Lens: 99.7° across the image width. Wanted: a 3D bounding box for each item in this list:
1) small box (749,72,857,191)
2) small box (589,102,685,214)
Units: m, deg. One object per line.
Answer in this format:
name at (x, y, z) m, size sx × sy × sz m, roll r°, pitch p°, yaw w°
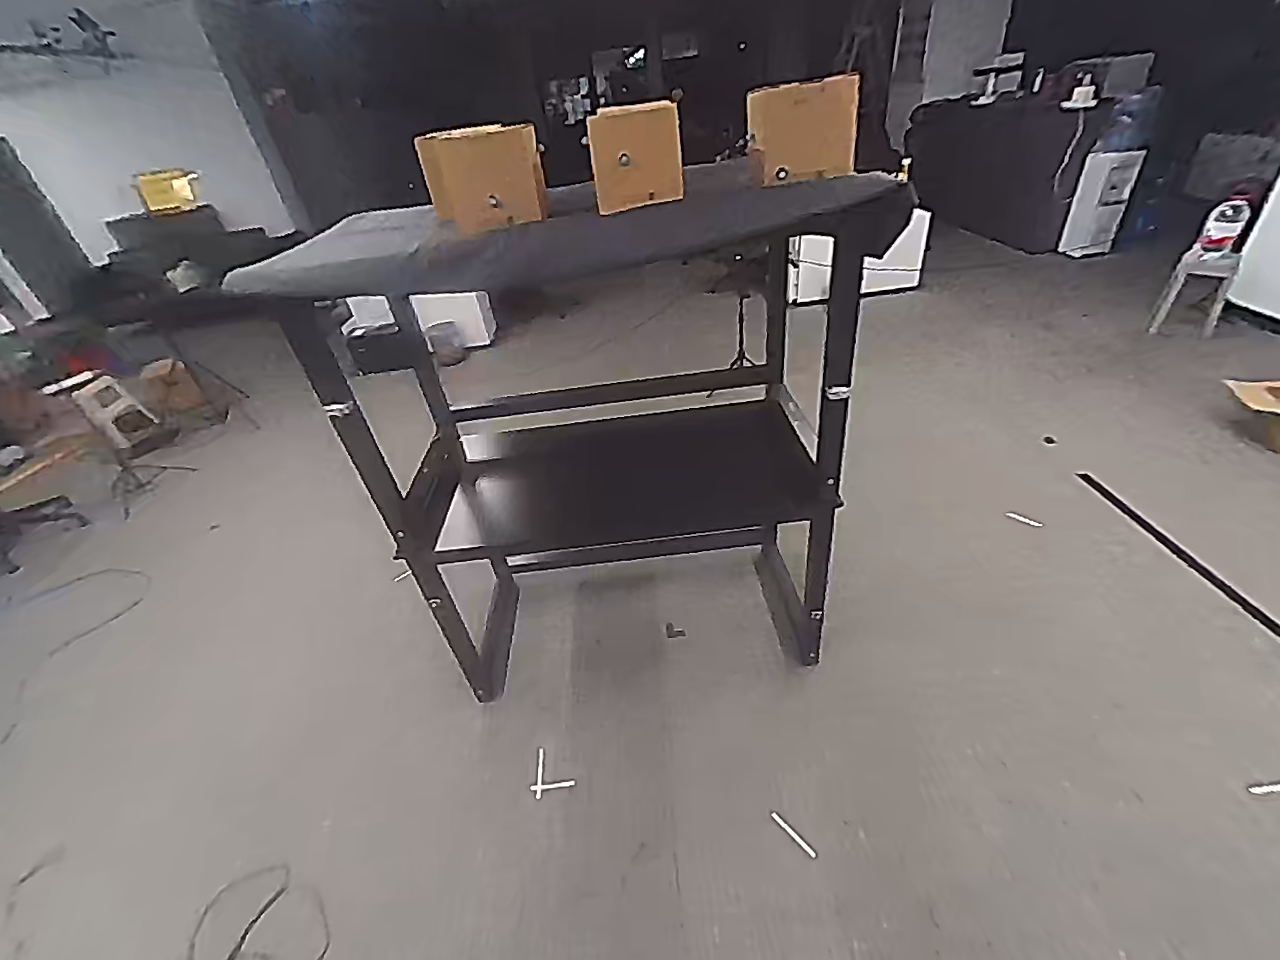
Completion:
small box at (0.309, -0.668, 1.050) m, size 0.168 × 0.176 × 0.179 m, roll -6°, pitch 32°, yaw 4°
small box at (-0.005, -0.642, 1.083) m, size 0.168 × 0.176 × 0.179 m, roll -7°, pitch 33°, yaw 2°
